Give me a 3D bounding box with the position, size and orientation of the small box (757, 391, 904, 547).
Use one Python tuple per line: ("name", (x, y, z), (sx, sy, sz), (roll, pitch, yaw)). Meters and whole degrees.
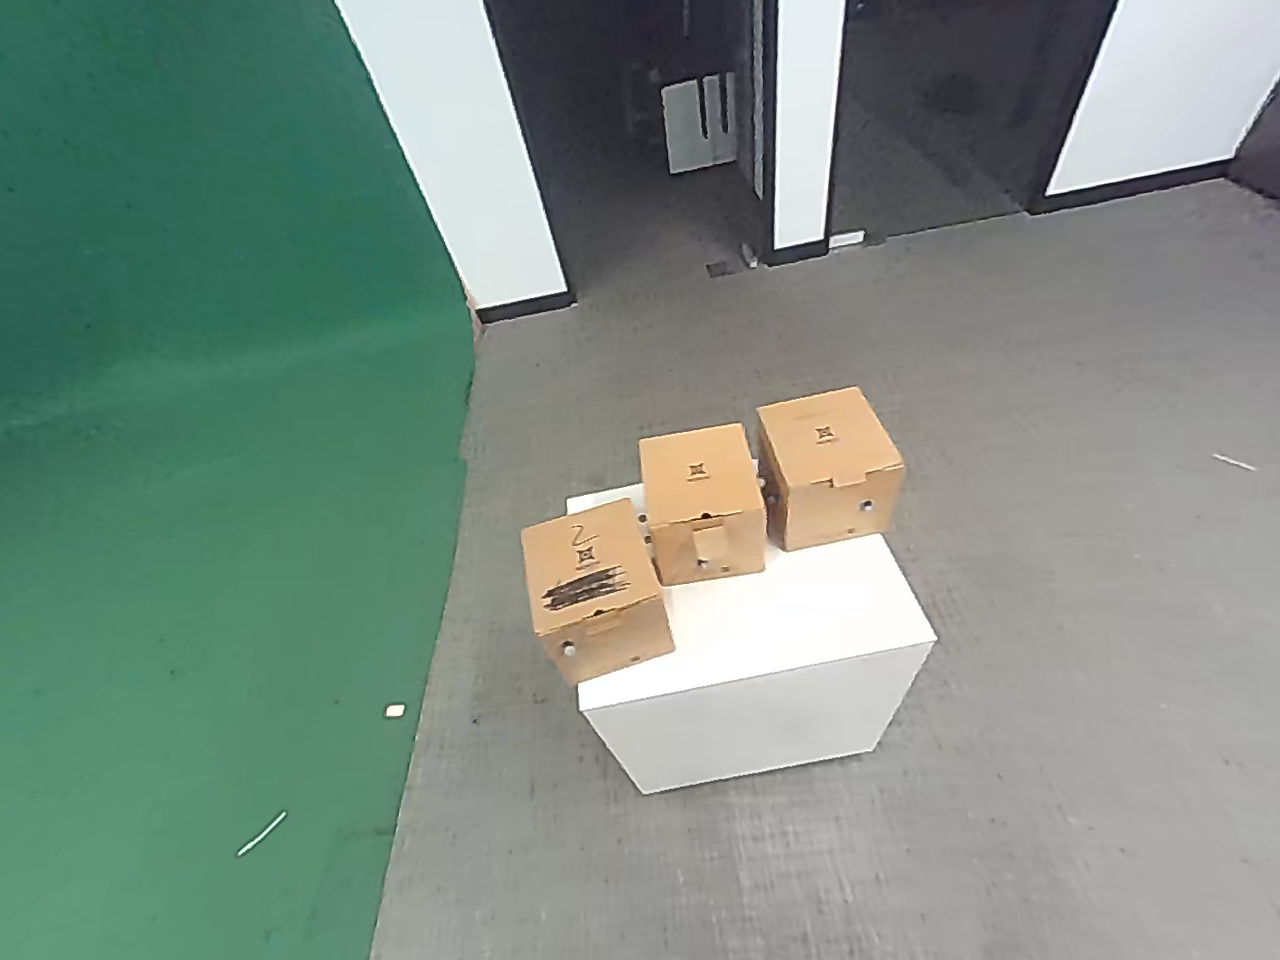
("small box", (0.290, -0.010, 0.860), (0.168, 0.176, 0.179), (-11, 48, 2))
